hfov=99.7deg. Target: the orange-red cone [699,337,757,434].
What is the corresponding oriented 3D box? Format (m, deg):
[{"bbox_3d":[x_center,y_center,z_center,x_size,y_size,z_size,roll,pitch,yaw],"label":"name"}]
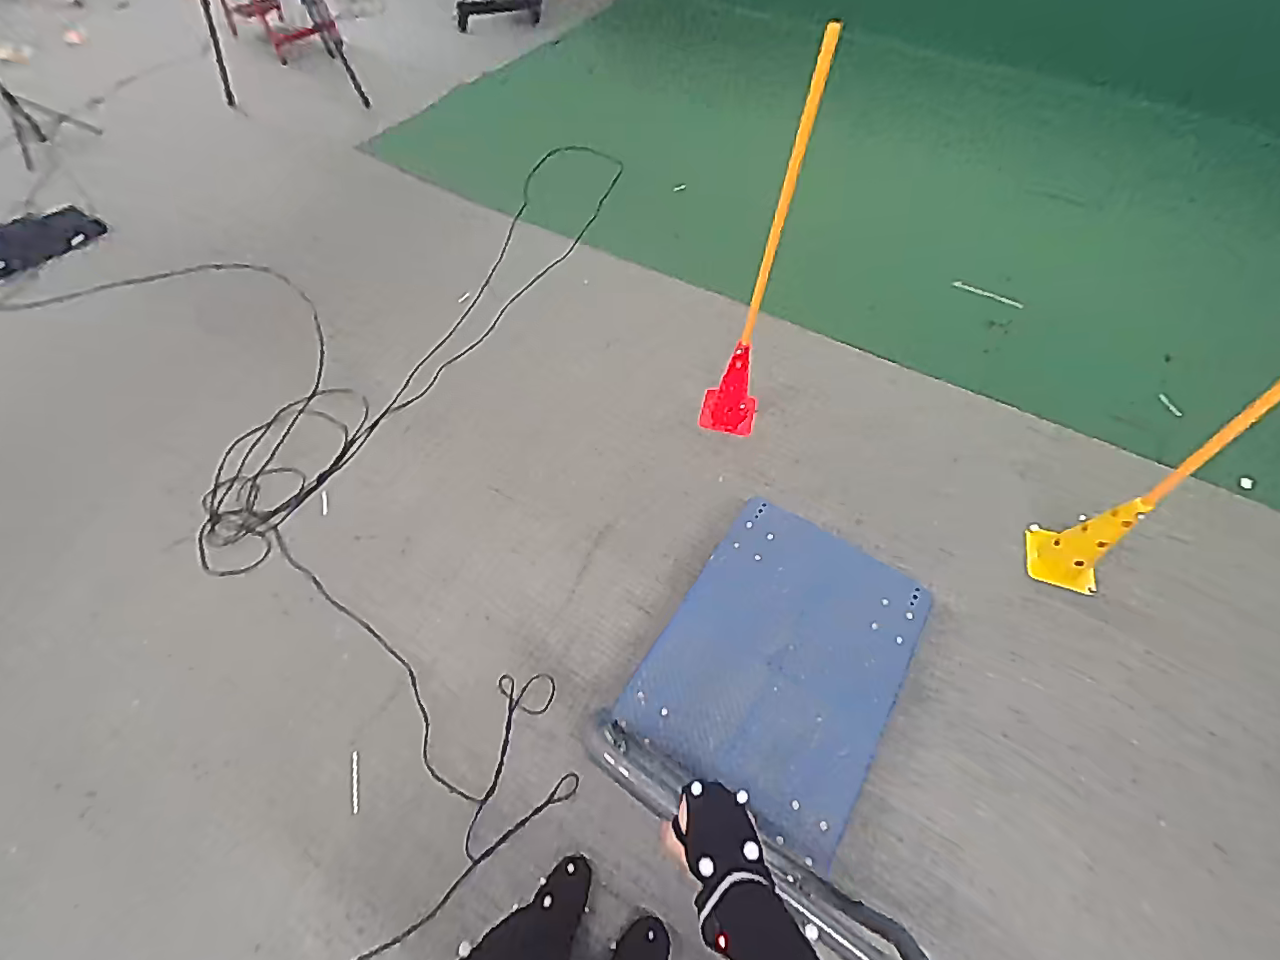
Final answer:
[{"bbox_3d":[0.335,-0.357,1.909,0.199,0.360,0.198,13,57,9],"label":"orange-red cone"}]
